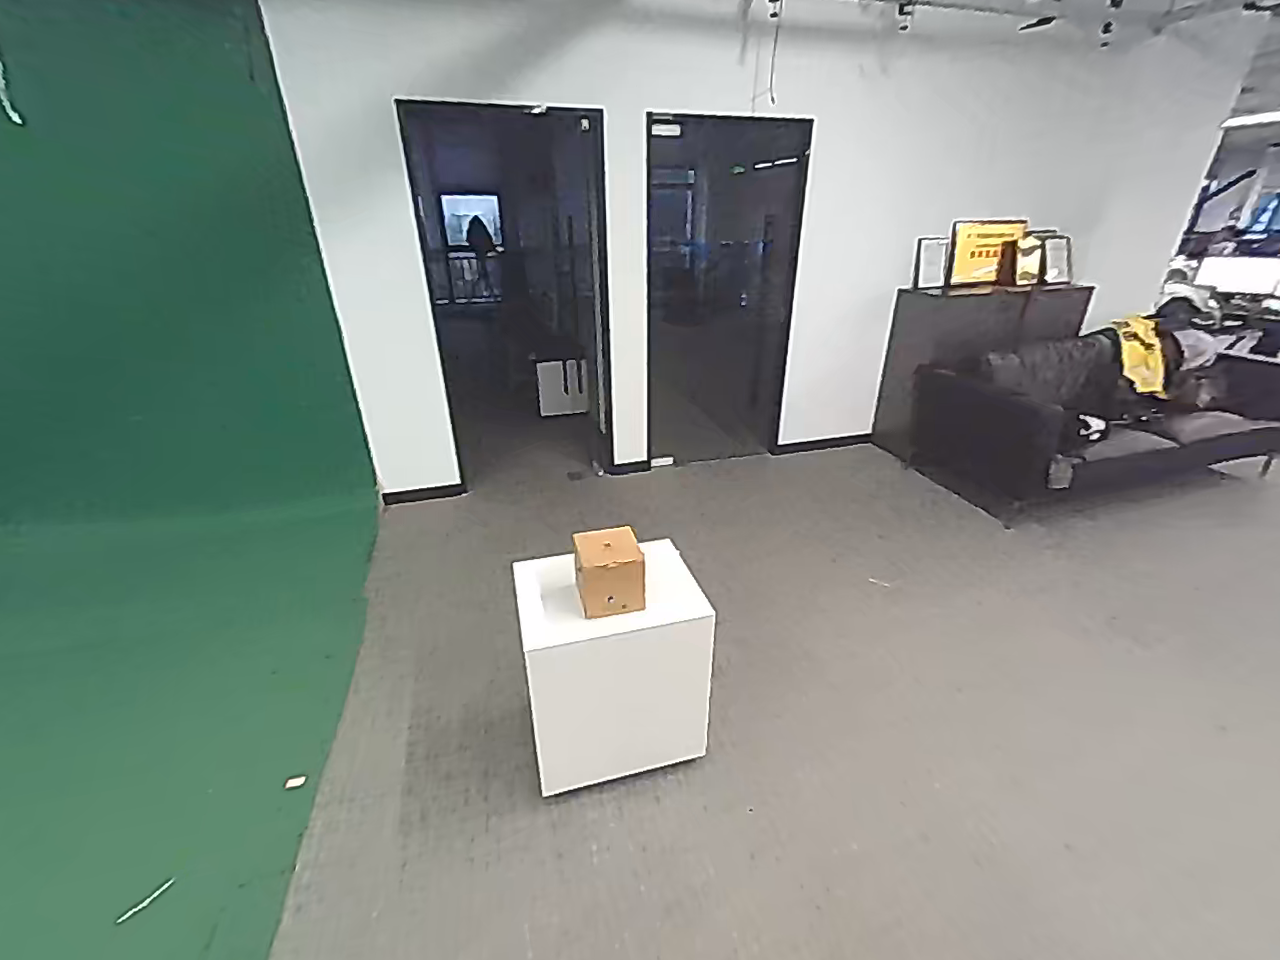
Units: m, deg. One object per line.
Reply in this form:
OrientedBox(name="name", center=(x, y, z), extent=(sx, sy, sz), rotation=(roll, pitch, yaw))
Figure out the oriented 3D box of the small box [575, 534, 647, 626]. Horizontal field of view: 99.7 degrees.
OrientedBox(name="small box", center=(-0.082, 0.269, 1.470), extent=(0.168, 0.176, 0.179), rotation=(-7, 25, -13))
